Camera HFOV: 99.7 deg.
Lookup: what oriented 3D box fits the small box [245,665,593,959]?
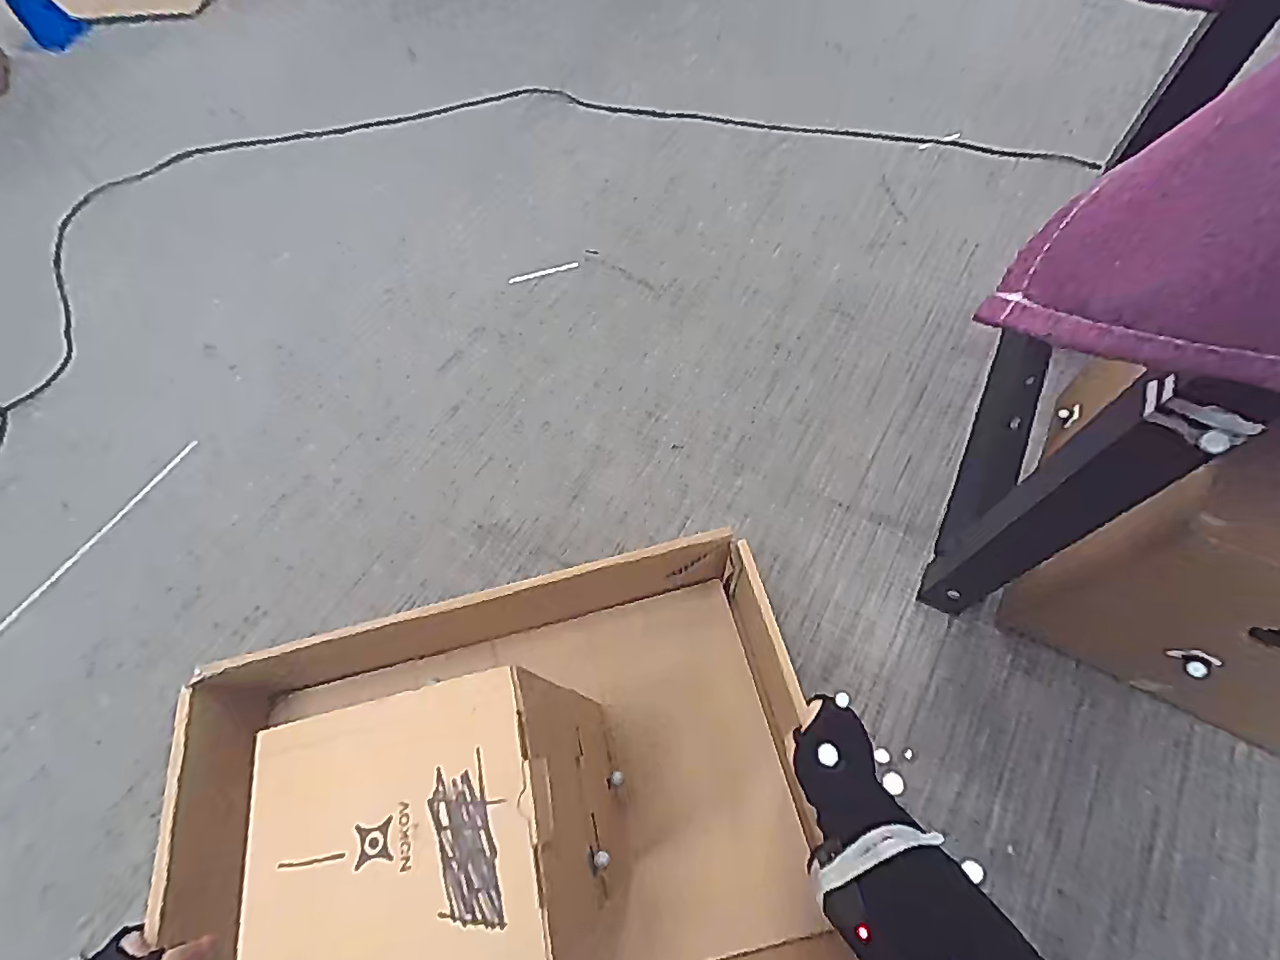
[{"bbox_3d":[-0.138,0.246,0.392,0.179,0.176,0.168,-15,62,0],"label":"small box"}]

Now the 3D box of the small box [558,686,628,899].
[{"bbox_3d":[-0.120,0.320,0.539,0.179,0.176,0.168,-14,63,-1],"label":"small box"}]
